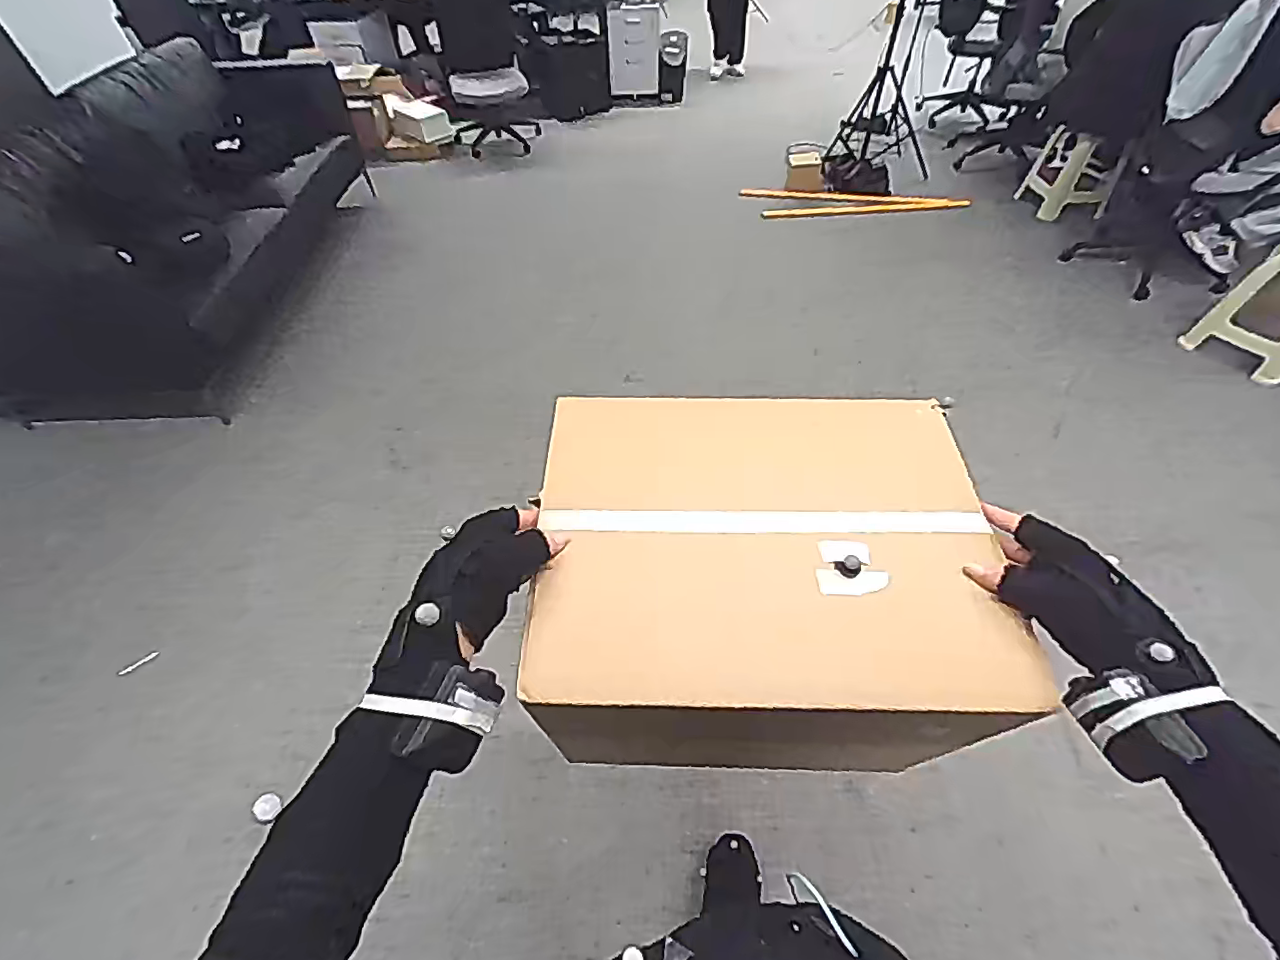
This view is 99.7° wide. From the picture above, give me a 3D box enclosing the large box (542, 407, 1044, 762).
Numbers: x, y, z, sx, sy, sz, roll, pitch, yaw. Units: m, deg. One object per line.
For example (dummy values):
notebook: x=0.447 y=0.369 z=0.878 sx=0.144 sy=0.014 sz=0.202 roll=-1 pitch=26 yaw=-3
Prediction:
large box: x=0.118 y=0.131 z=0.627 sx=0.408 sy=0.320 sz=0.320 roll=1 pitch=55 yaw=0
